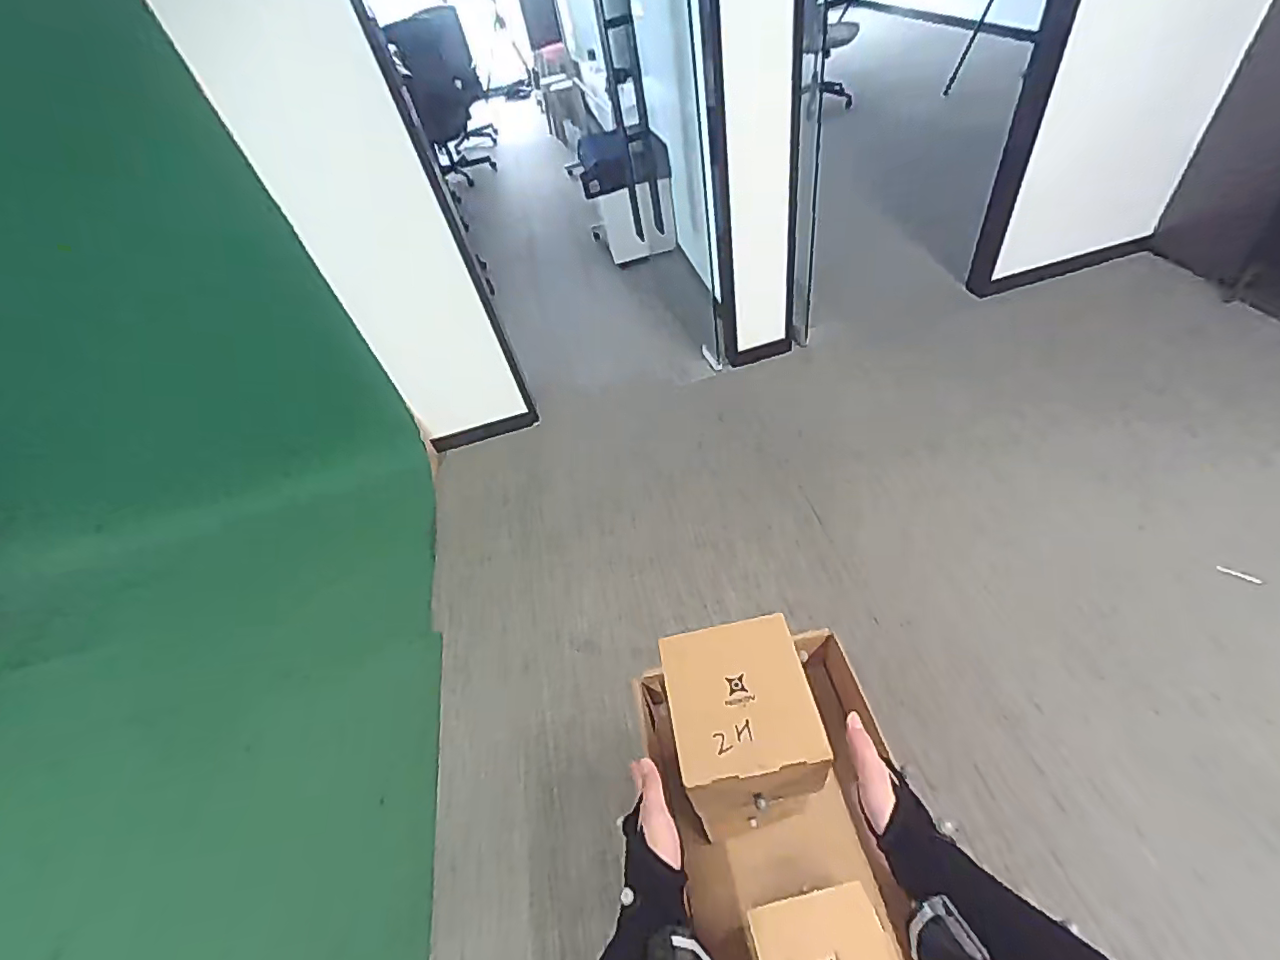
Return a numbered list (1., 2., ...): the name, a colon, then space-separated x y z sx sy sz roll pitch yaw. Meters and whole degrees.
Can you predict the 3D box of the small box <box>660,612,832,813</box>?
1. small box: 0.127 0.298 0.687 0.168 0.176 0.179 -13 49 3
